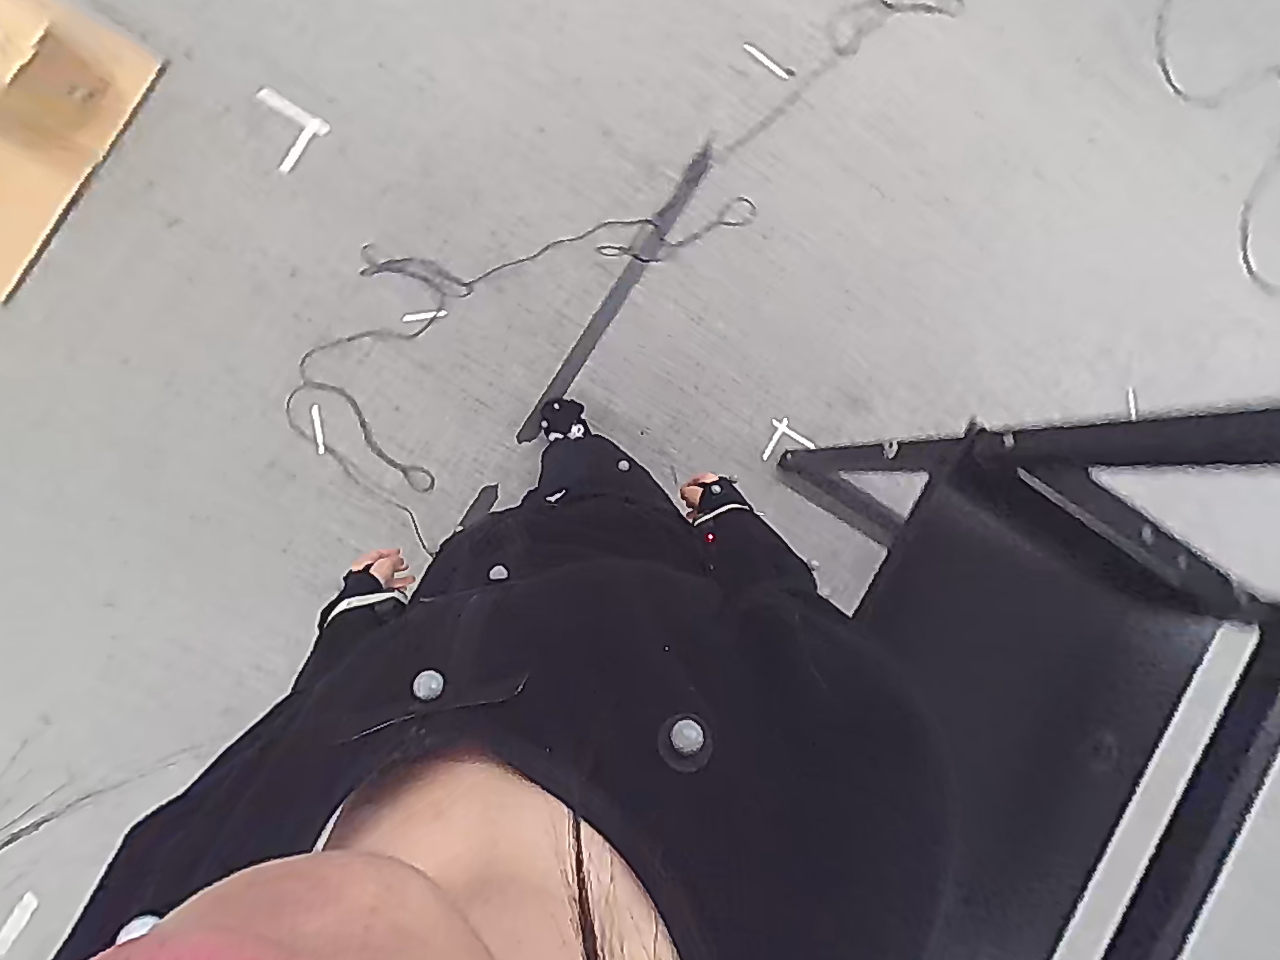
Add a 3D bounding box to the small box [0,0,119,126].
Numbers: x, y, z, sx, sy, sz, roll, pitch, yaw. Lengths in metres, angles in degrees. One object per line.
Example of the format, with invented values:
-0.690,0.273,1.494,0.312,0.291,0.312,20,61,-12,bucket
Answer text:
-1.328,-0.931,1.184,0.179,0.176,0.168,31,87,-10,small box
